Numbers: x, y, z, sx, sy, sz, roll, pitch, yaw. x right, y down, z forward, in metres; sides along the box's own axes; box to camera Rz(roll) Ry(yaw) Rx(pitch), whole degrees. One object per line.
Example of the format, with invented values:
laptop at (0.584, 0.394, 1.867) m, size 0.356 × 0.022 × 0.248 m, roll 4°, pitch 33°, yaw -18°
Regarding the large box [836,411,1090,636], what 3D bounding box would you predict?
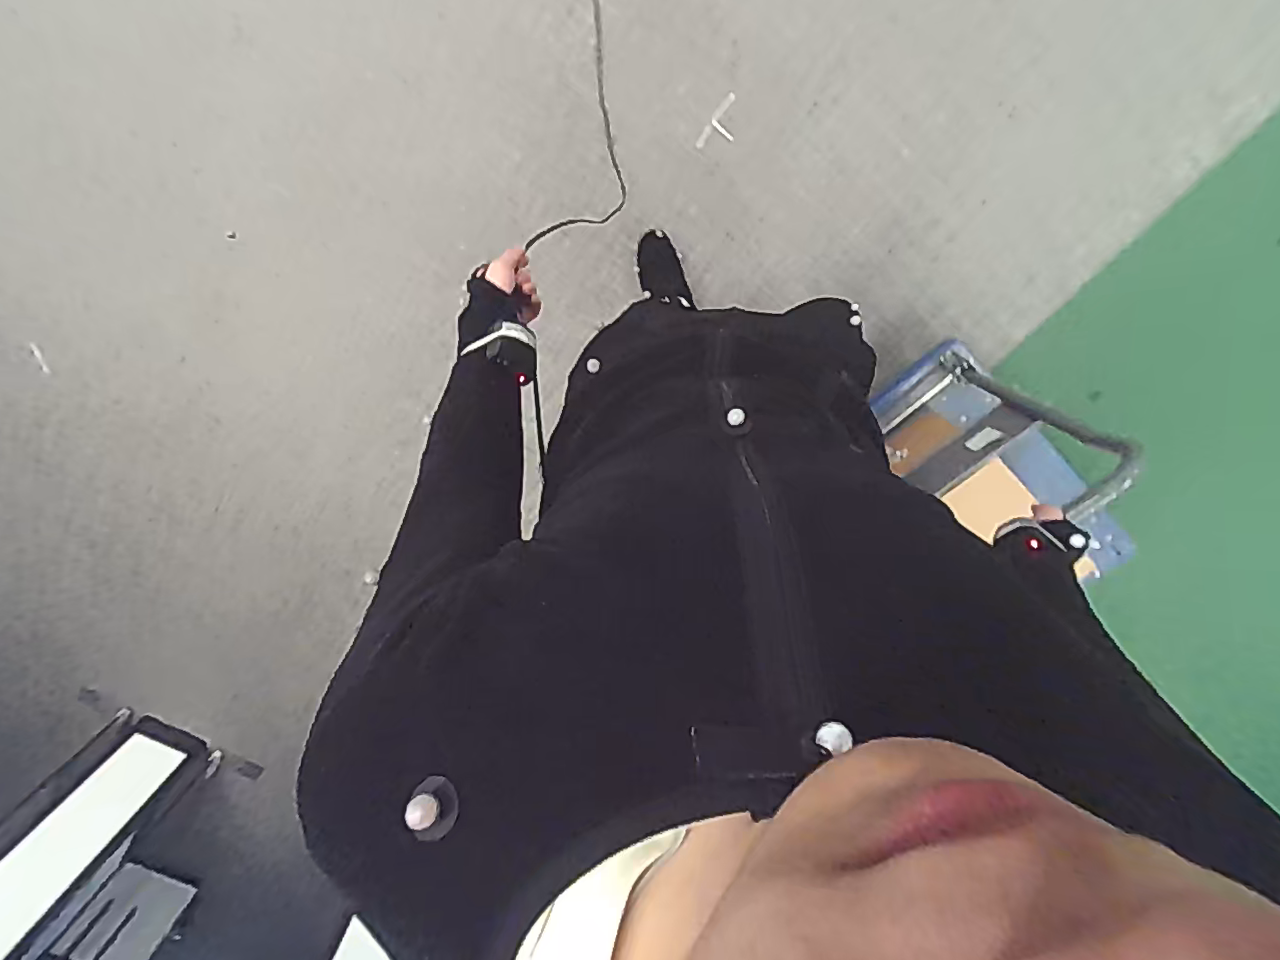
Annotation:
large box at (0.772, 0.099, 1.352) m, size 0.408 × 0.320 × 0.320 m, roll 40°, pitch 112°, yaw -15°
